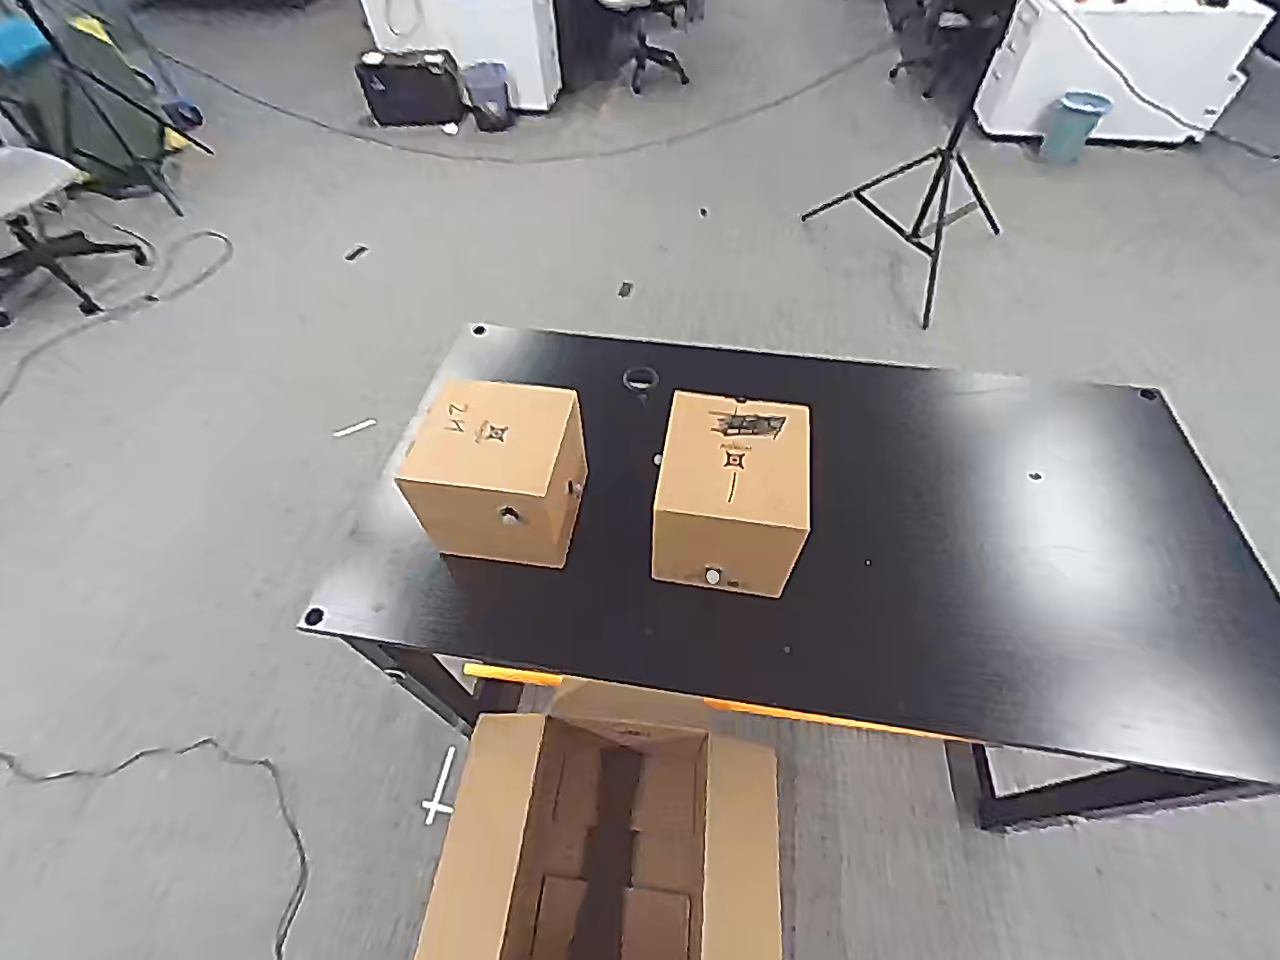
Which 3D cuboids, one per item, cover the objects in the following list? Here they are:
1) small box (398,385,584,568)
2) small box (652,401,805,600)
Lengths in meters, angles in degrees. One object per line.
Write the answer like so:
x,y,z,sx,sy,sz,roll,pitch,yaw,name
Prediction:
-0.176,0.000,0.709,0.179,0.176,0.168,6,53,5,small box
0.107,0.028,0.686,0.168,0.176,0.179,7,54,7,small box
